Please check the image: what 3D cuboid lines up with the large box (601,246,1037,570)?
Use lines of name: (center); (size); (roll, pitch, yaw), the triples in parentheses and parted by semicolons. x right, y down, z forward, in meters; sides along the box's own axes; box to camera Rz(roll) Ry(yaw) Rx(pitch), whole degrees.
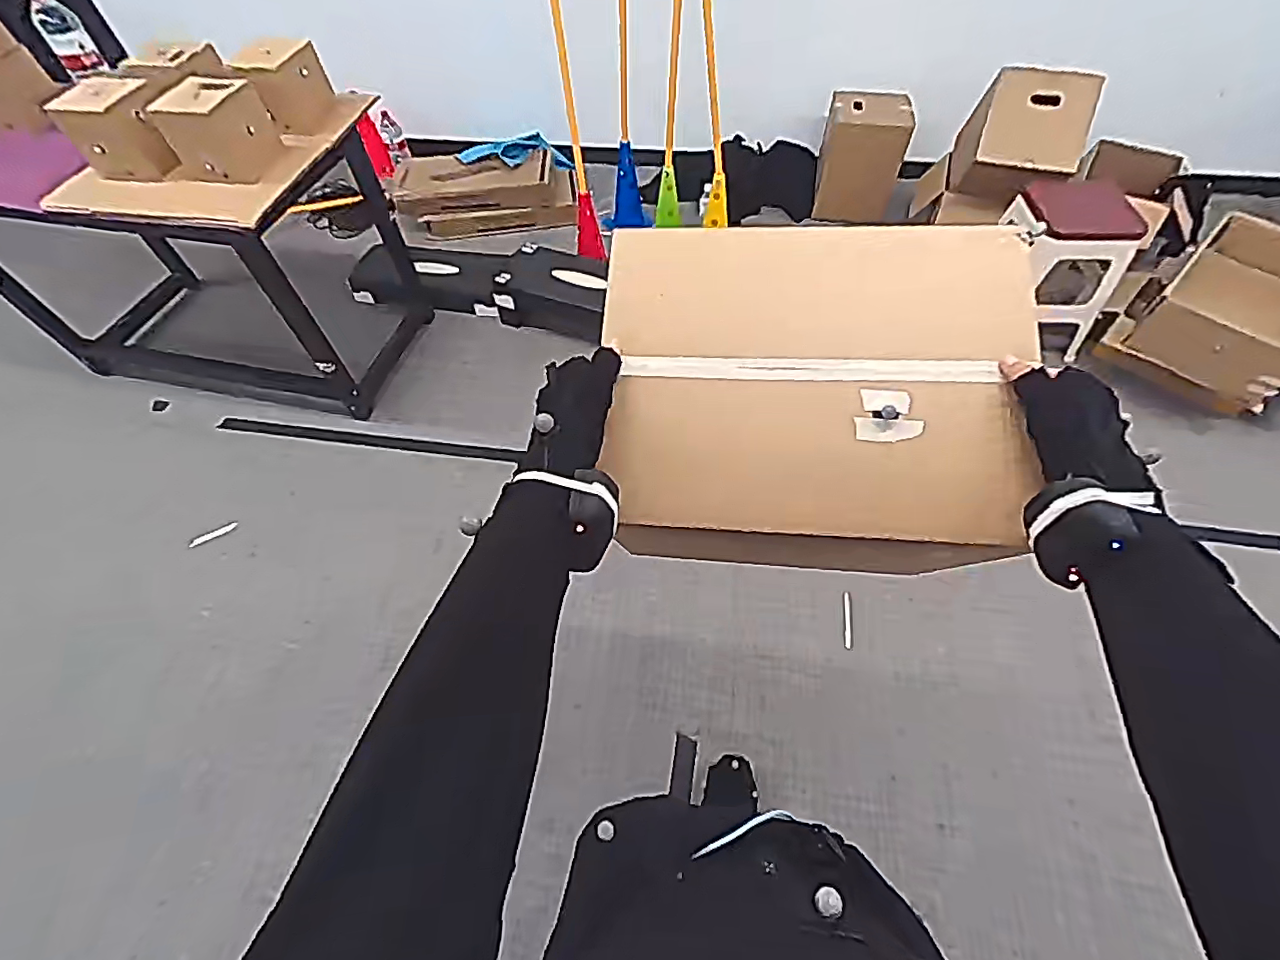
large box: (0.179, -0.061, 0.678); (0.408, 0.320, 0.320); (2, 78, 6)
